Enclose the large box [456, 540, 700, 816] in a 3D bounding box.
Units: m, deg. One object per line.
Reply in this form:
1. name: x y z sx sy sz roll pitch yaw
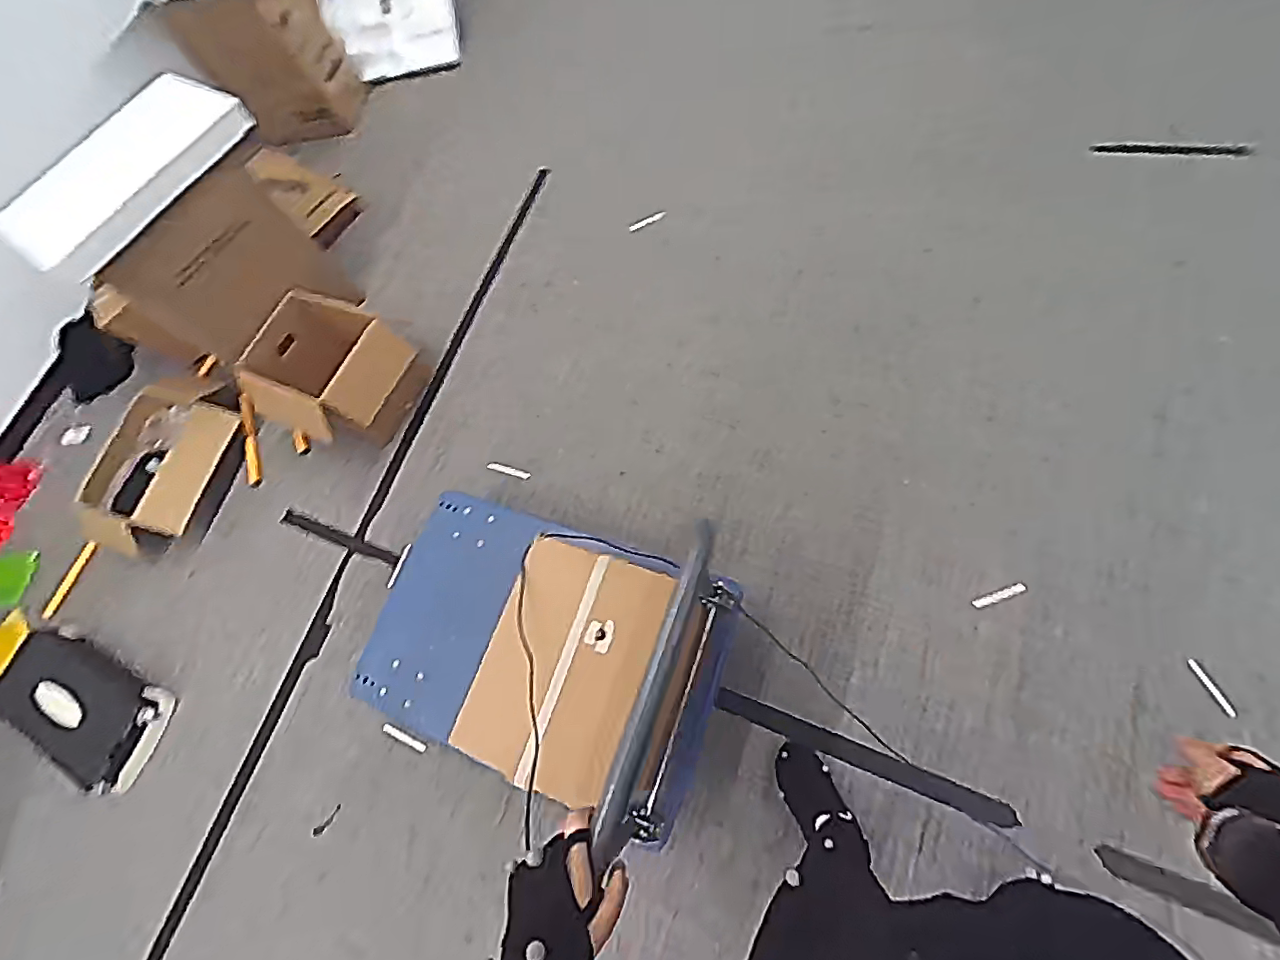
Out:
1. large box: -0.095 0.387 1.104 0.320 0.320 0.408 15 73 19
